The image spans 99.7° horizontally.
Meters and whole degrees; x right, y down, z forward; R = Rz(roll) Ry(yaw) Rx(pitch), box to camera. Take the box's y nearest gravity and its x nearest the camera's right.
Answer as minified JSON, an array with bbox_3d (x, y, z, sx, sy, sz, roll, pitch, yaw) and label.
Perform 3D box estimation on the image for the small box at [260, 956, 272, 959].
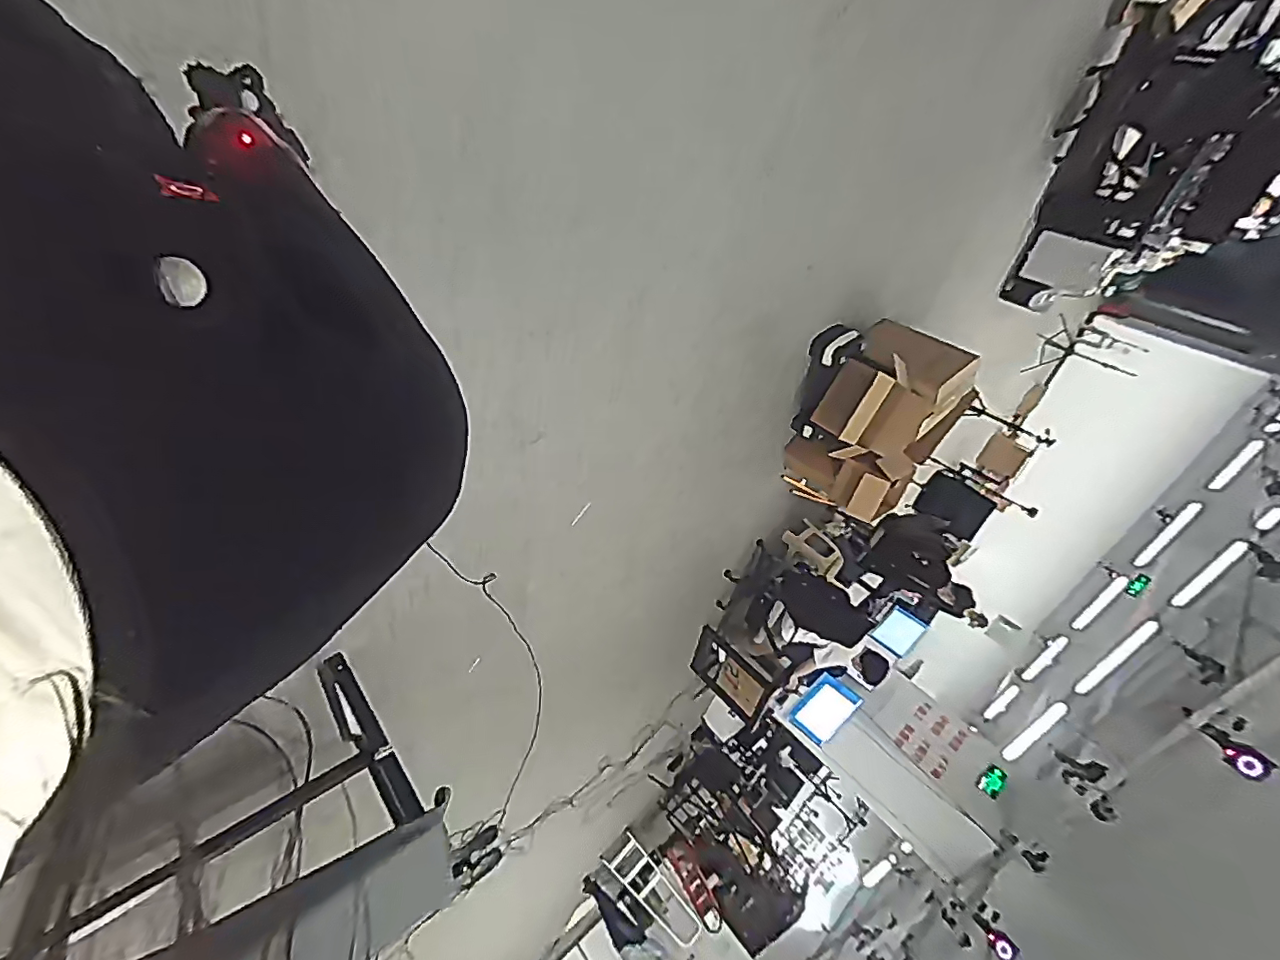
[{"bbox_3d":[-0.956,1.311,1.306,0.168,0.176,0.179,-24,139,-37],"label":"small box"}]
